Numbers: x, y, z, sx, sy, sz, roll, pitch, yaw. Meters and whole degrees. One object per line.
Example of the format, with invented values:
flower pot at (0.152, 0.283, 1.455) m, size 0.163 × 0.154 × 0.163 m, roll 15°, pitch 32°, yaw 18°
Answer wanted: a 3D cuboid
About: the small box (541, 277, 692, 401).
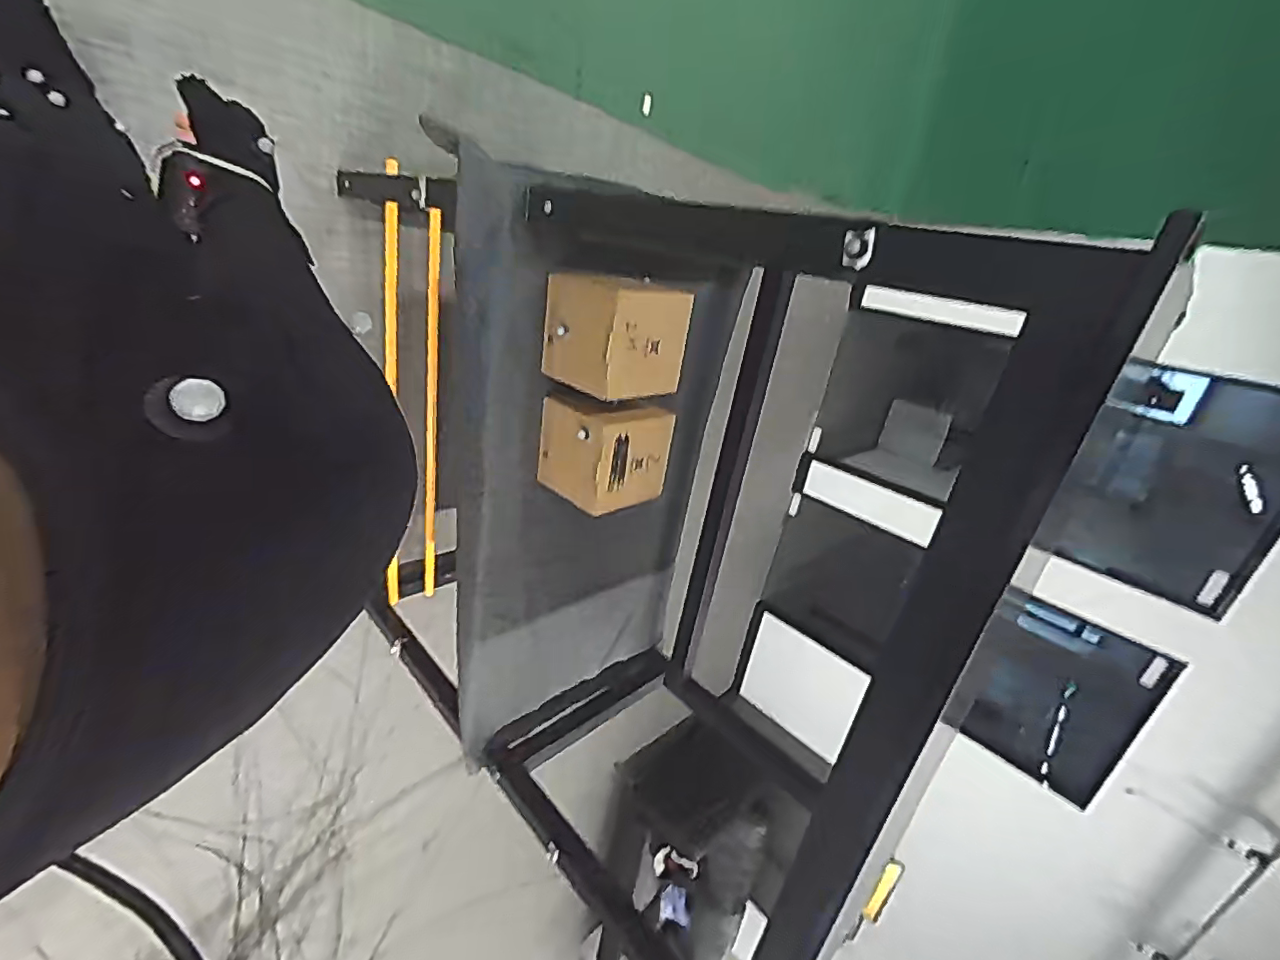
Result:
small box at (-0.042, -0.243, 0.915) m, size 0.179 × 0.176 × 0.168 m, roll -16°, pitch 124°, yaw -44°
